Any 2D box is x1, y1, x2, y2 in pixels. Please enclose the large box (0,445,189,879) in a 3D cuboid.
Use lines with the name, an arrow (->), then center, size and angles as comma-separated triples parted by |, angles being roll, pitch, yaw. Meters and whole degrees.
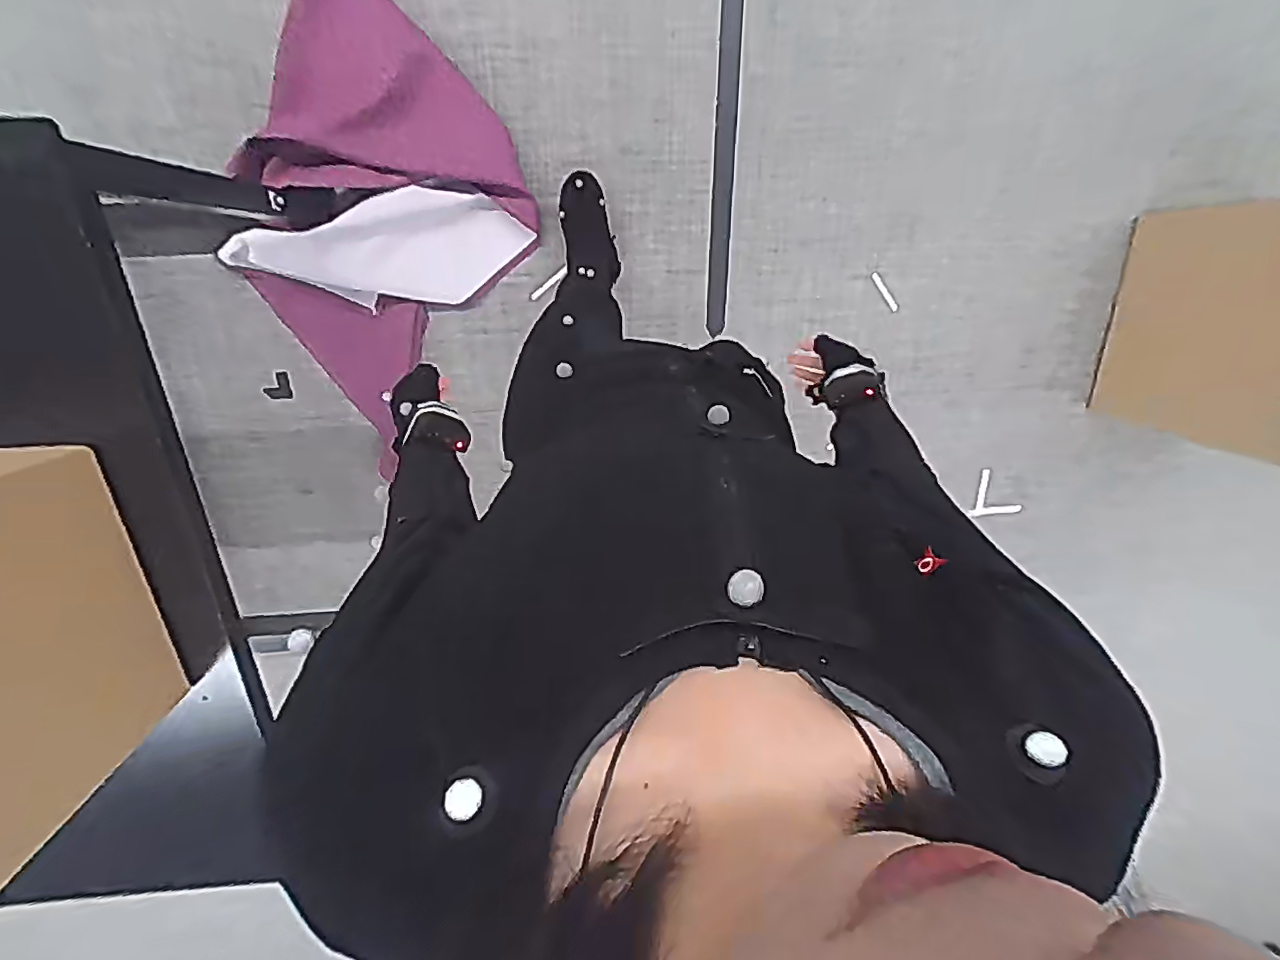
large box -> -0.831, 0.200, 0.609 | 0.320, 0.320, 0.408 | -4, 110, -4
